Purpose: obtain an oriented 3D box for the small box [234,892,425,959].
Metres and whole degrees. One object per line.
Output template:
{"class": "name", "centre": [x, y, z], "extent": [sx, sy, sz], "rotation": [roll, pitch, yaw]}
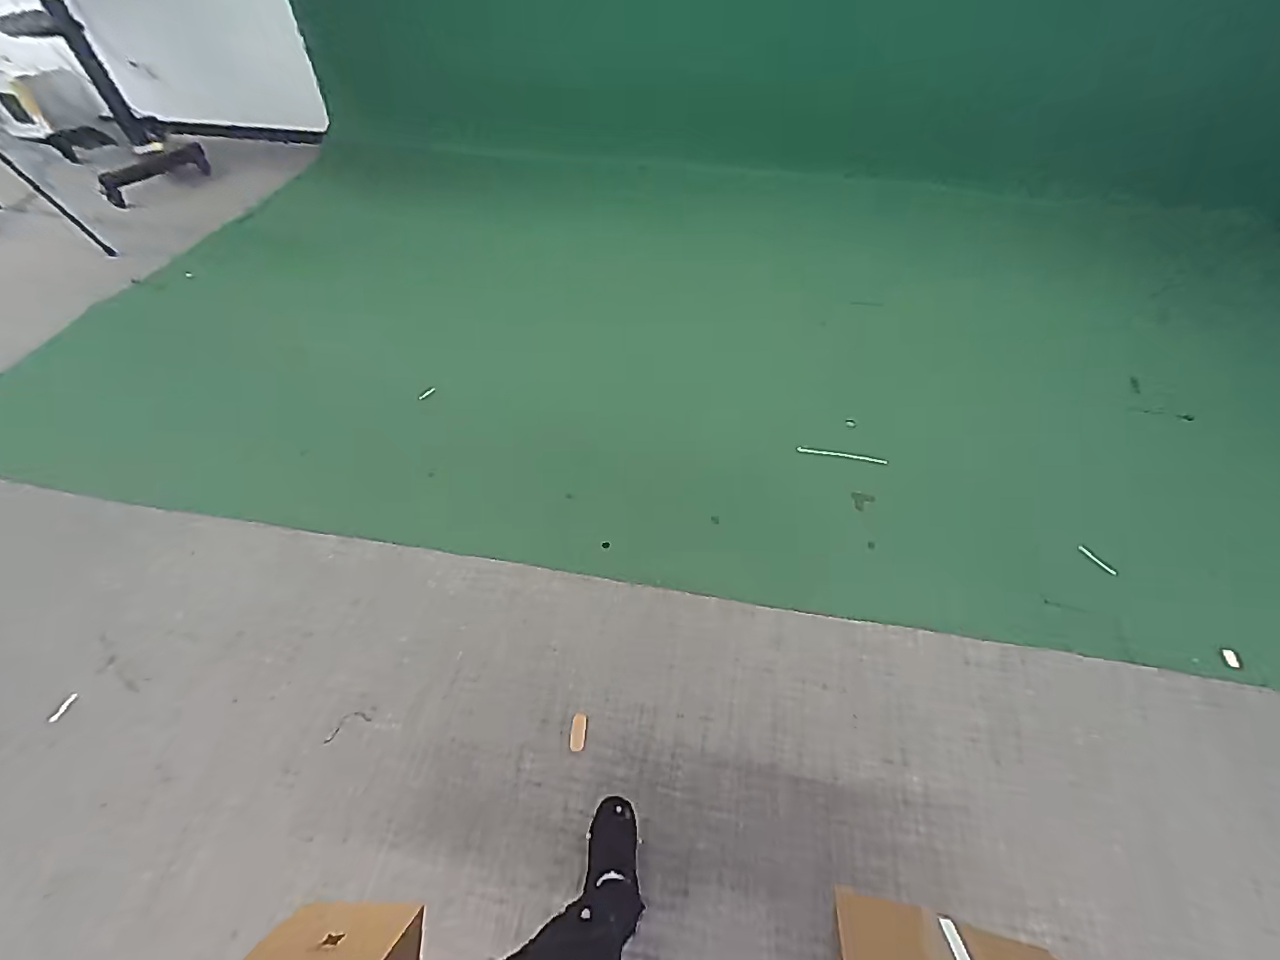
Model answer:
{"class": "small box", "centre": [-0.380, 0.638, 0.650], "extent": [0.168, 0.179, 0.176], "rotation": [1, 79, 0]}
